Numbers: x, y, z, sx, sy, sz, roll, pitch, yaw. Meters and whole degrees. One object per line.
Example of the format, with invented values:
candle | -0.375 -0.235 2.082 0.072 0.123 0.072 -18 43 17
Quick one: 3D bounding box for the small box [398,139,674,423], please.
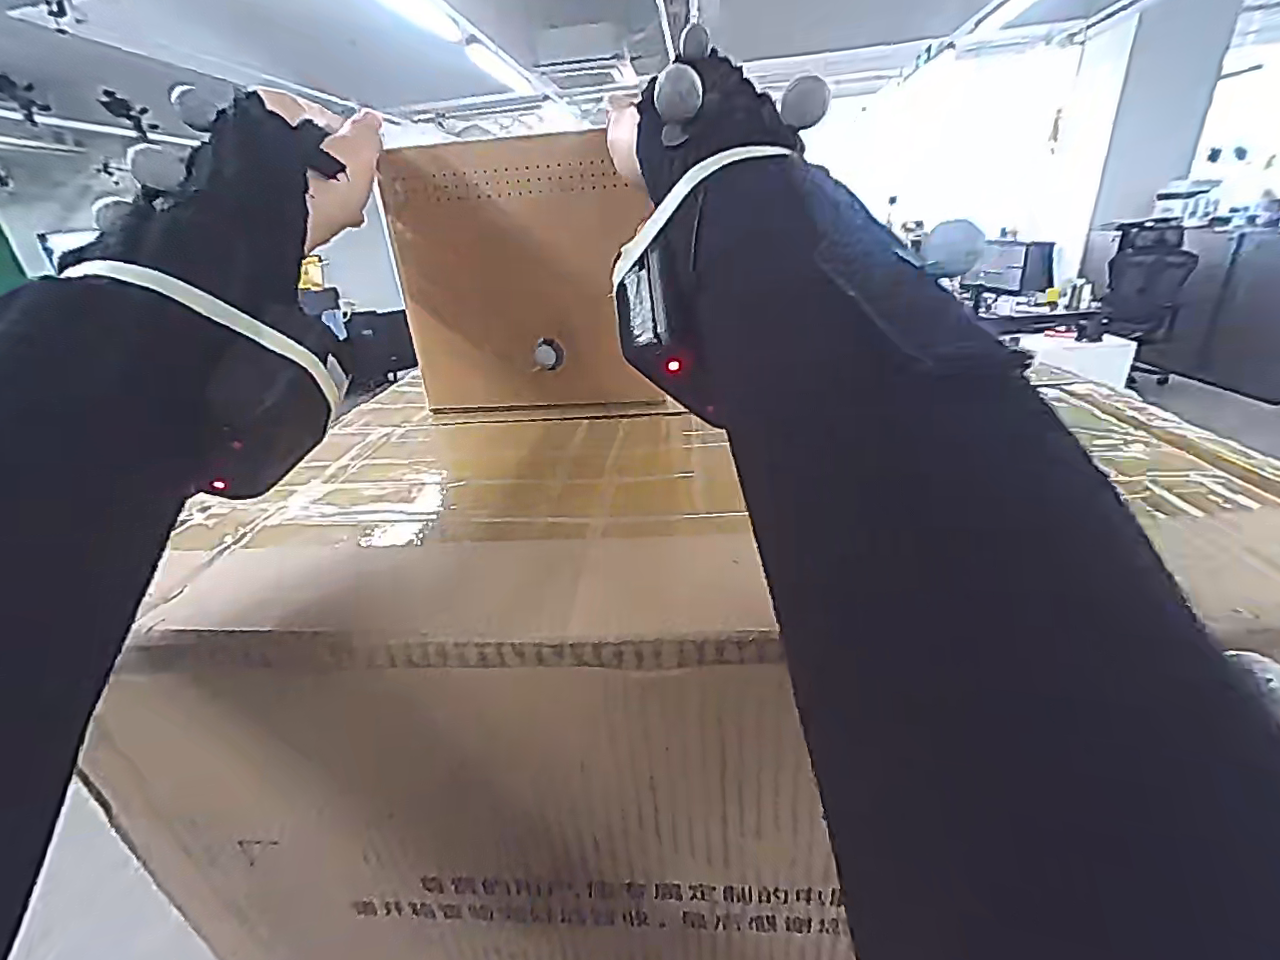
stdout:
small box | -0.066 -0.152 0.425 0.179 0.176 0.168 -2 25 7
